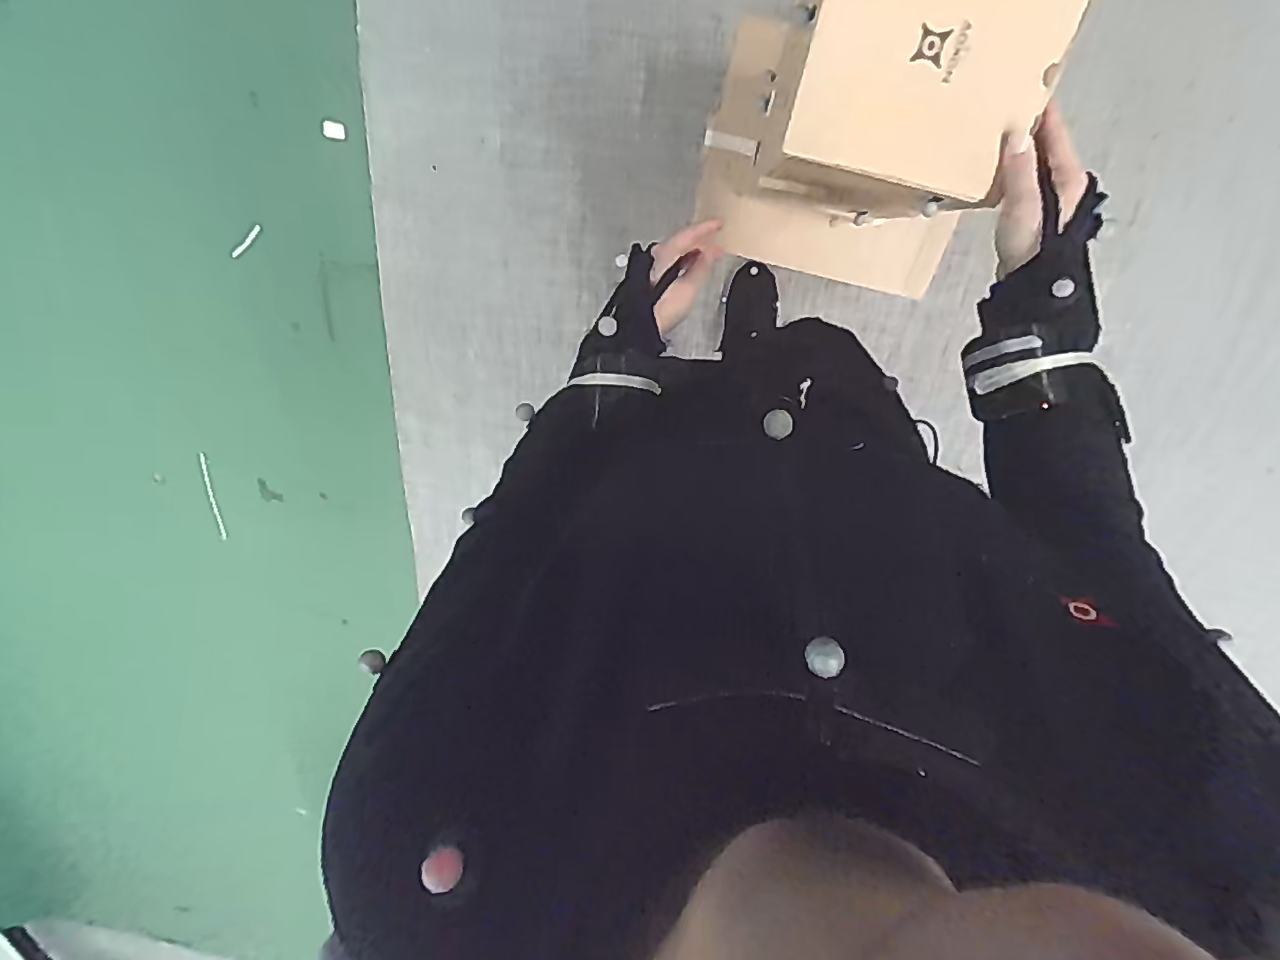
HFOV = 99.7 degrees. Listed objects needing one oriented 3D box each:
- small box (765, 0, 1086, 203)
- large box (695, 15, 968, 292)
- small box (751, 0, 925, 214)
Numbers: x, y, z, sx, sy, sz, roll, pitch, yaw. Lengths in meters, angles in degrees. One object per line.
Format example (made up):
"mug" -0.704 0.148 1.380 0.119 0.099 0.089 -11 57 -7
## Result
"small box" 0.213 -0.338 0.447 0.179 0.176 0.168 14 115 1
"large box" 0.328 -0.550 0.963 0.408 0.320 0.320 14 118 2
"small box" 0.229 -0.398 0.597 0.179 0.176 0.168 12 115 4
